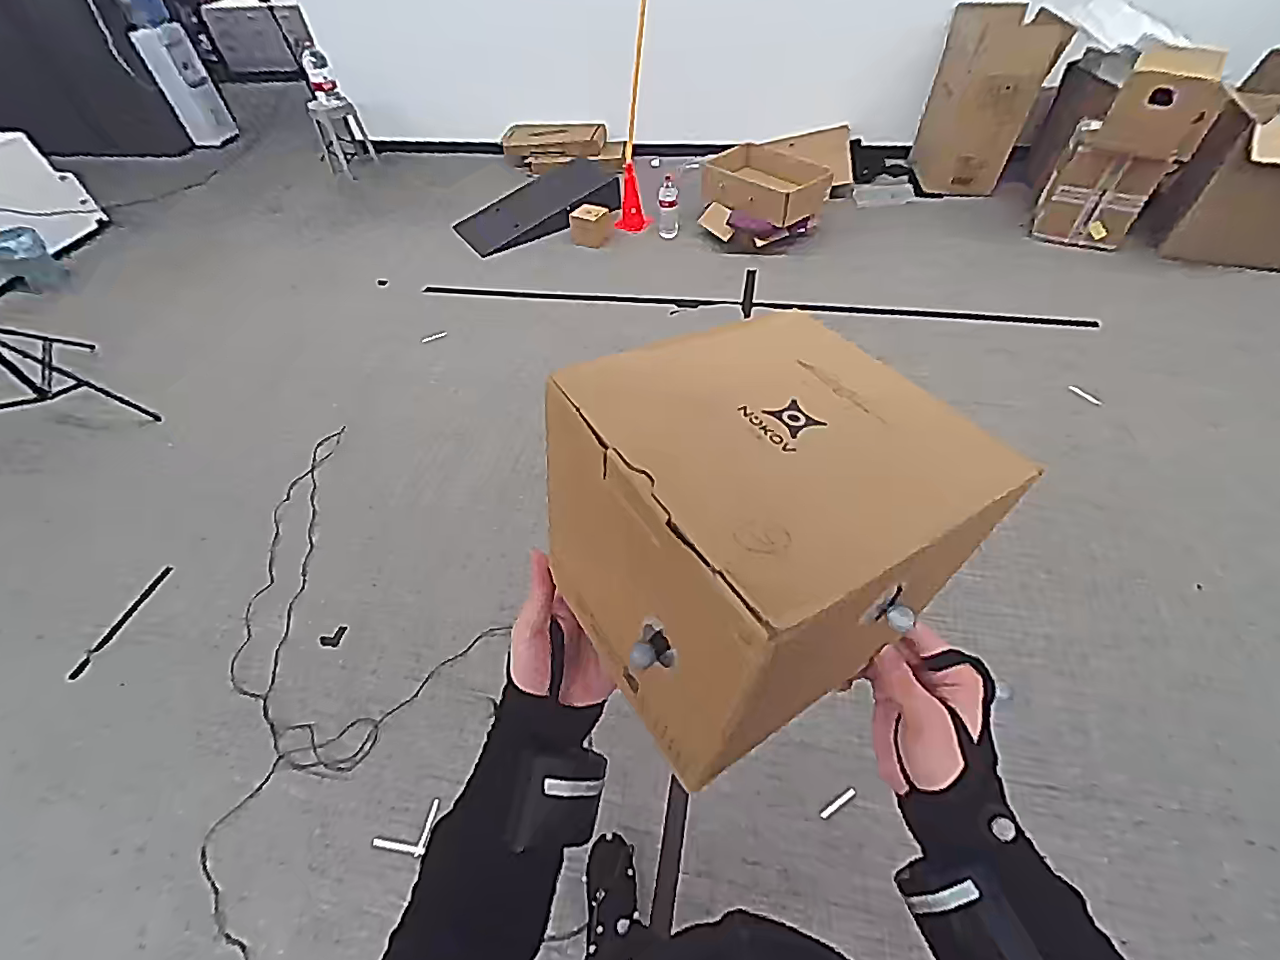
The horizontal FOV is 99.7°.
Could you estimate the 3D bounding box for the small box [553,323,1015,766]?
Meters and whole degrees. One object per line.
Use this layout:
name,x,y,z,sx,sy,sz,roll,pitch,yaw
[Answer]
small box,0.061,0.033,0.325,0.179,0.176,0.168,-20,52,-27
